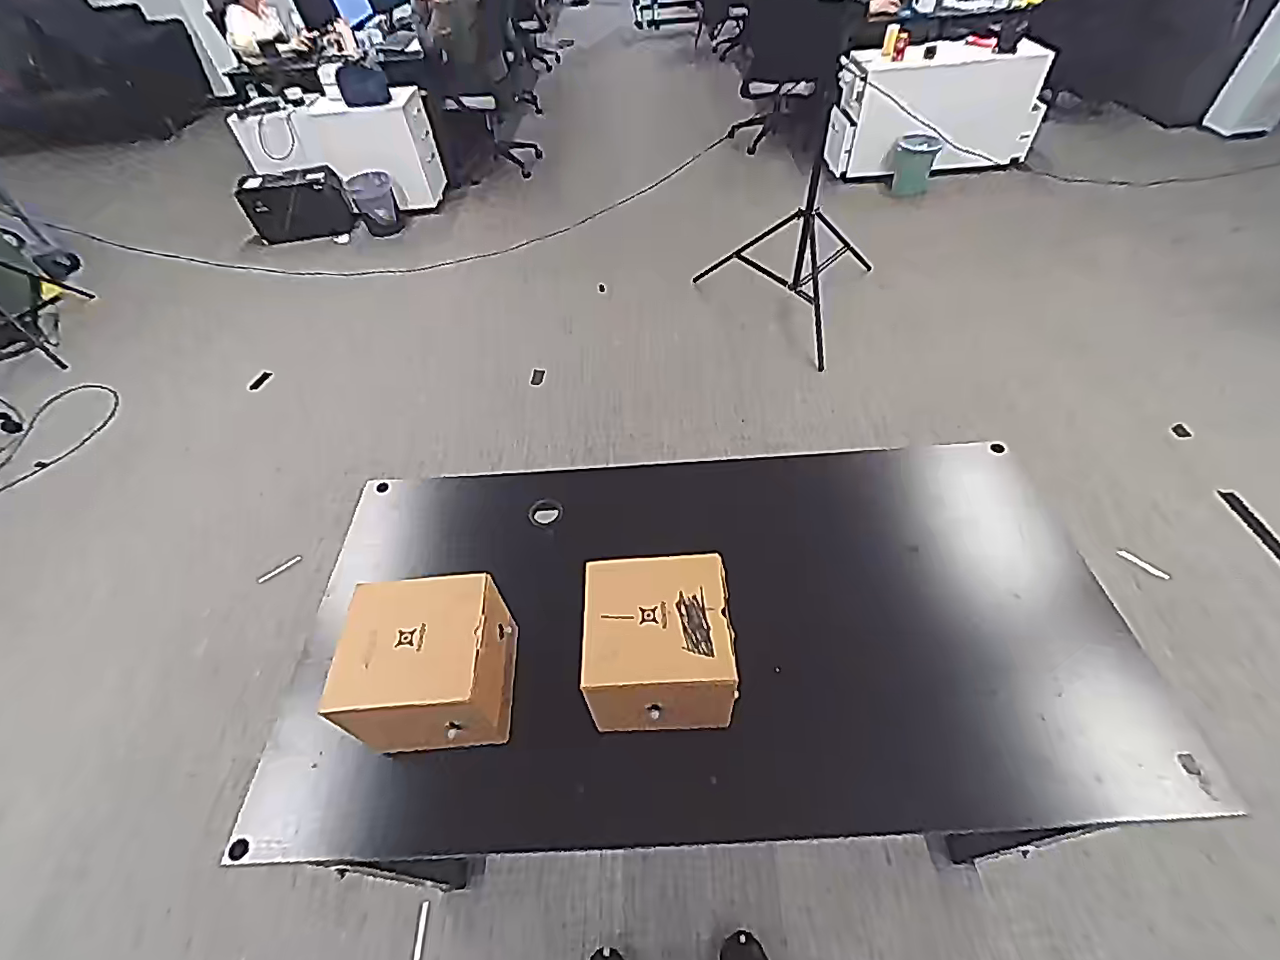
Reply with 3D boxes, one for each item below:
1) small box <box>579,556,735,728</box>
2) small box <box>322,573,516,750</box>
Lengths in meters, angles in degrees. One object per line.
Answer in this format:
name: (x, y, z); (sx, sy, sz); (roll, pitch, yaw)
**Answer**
small box: (0.023, 0.216, 0.712); (0.179, 0.176, 0.168); (-4, 49, 3)
small box: (-0.270, 0.243, 0.715); (0.179, 0.176, 0.168); (-6, 49, 0)
